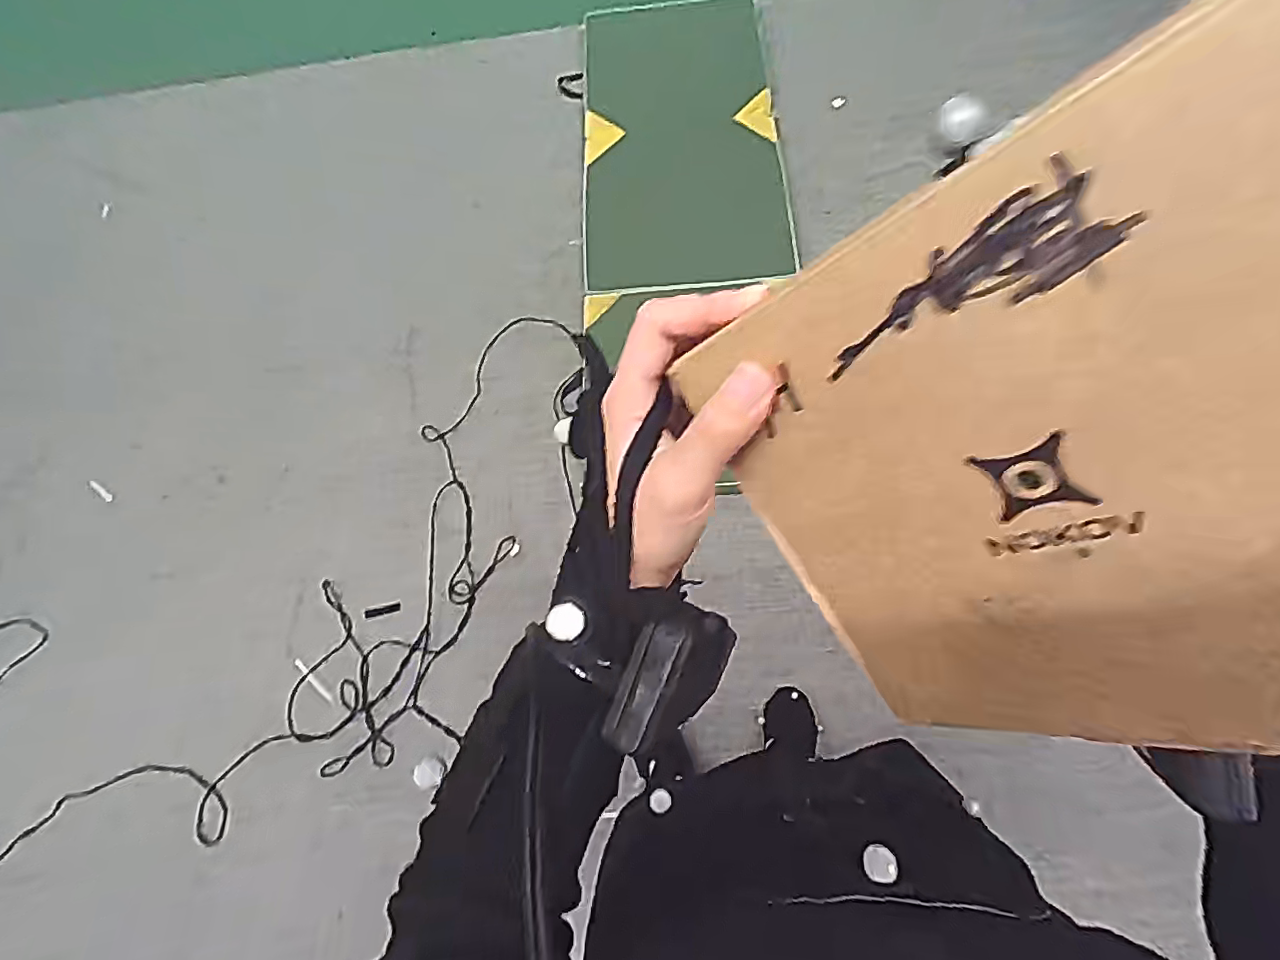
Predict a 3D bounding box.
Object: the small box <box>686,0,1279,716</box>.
[{"bbox_3d":[0.157,-0.038,0.207,0.179,0.168,0.176,55,46,-9],"label":"small box"}]
